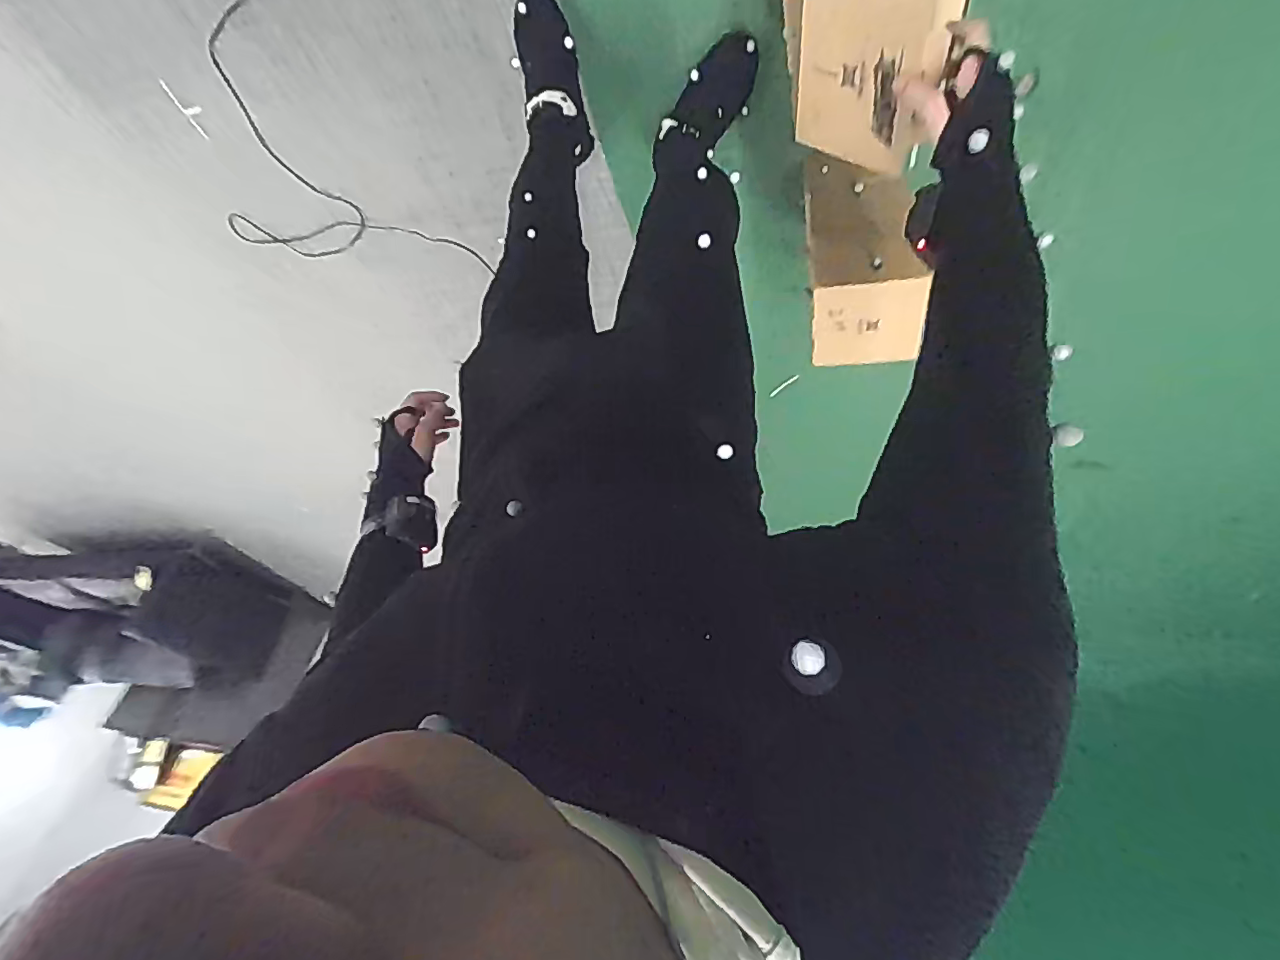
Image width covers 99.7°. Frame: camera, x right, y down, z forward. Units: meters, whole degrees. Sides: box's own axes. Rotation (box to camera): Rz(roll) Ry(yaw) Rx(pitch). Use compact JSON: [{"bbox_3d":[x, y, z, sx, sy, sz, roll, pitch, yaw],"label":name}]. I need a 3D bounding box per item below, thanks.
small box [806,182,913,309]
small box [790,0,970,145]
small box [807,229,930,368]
[{"bbox_3d":[0.418,-0.450,1.053,0.179,0.176,0.168,0,144,18],"label":"small box"},{"bbox_3d":[0.285,-0.550,0.675,0.179,0.176,0.168,2,142,12],"label":"small box"},{"bbox_3d":[0.390,-0.320,0.955,0.179,0.176,0.168,0,143,16],"label":"small box"}]
